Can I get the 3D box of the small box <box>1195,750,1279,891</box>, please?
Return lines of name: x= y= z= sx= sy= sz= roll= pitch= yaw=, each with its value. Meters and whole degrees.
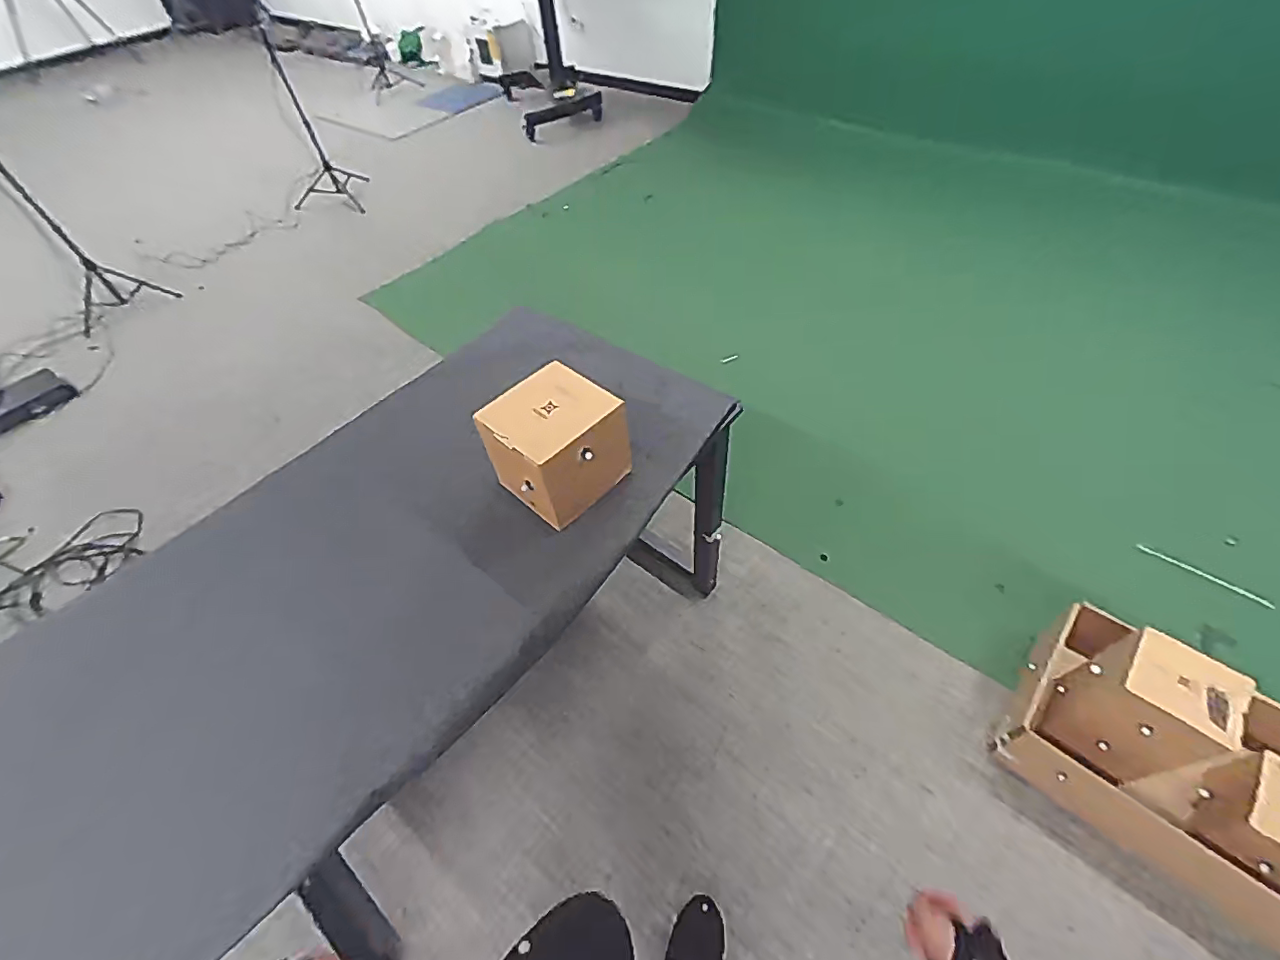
small box: x=1.256 y=0.675 z=1.059 sx=0.168 sy=0.176 sz=0.179 roll=34 pitch=63 yaw=28

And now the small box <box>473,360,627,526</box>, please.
small box: x=-0.135 y=-0.057 z=0.884 sx=0.168 sy=0.176 sz=0.179 roll=34 pitch=61 yaw=28

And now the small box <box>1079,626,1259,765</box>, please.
small box: x=1.026 y=0.428 z=1.060 sx=0.179 sy=0.176 sz=0.168 roll=33 pitch=61 yaw=27

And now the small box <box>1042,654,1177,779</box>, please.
small box: x=1.038 y=0.526 z=1.191 sx=0.179 sy=0.176 sz=0.168 roll=33 pitch=62 yaw=25
